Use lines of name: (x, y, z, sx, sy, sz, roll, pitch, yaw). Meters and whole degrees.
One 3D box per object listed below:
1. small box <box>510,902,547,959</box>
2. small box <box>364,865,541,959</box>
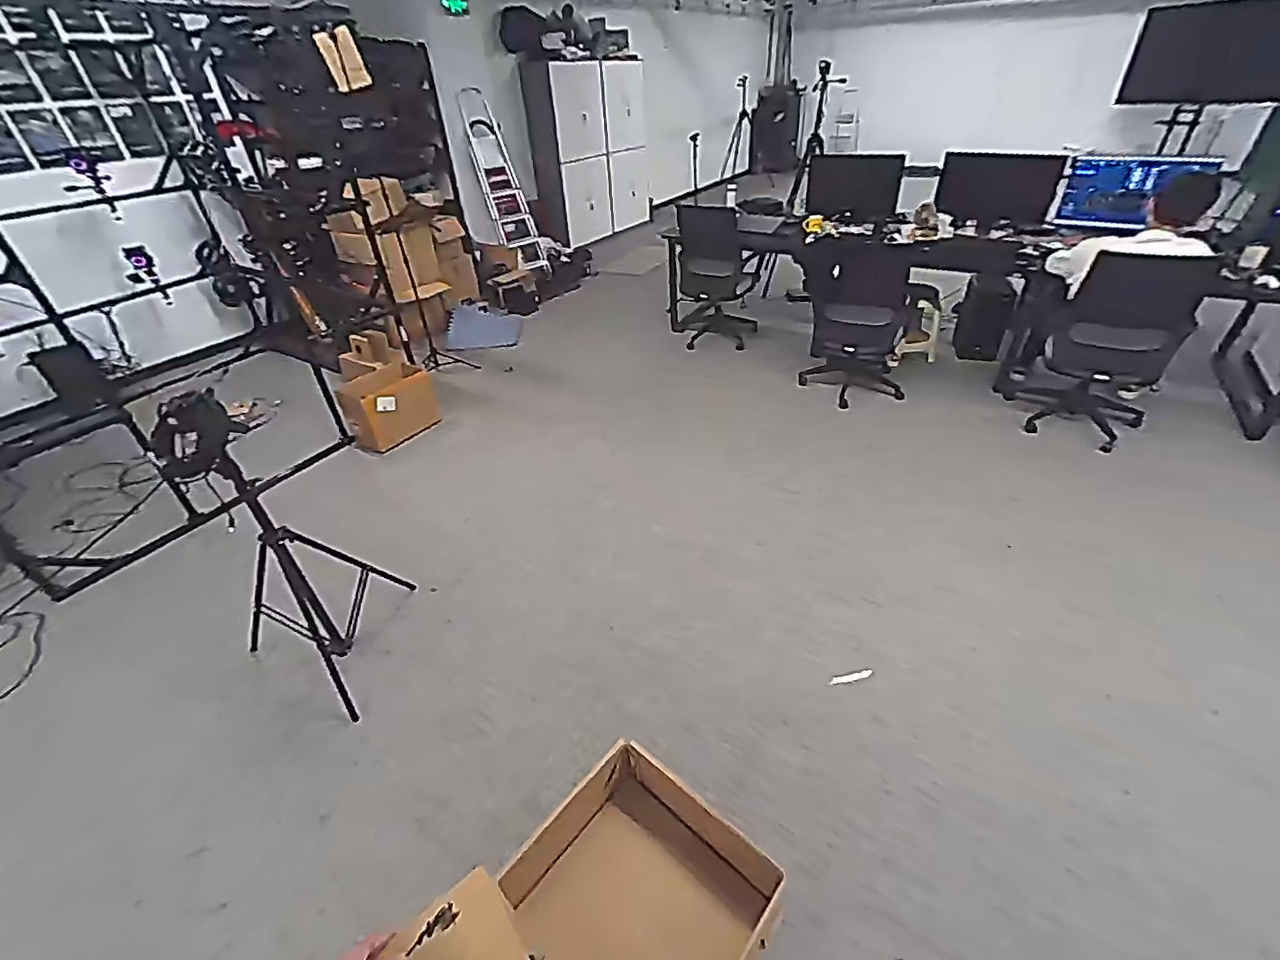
small box: (-0.188, 0.735, 0.728, 0.168, 0.176, 0.179, -29, 42, -29)
small box: (-0.197, 0.606, 0.623, 0.168, 0.176, 0.179, -29, 44, -29)
